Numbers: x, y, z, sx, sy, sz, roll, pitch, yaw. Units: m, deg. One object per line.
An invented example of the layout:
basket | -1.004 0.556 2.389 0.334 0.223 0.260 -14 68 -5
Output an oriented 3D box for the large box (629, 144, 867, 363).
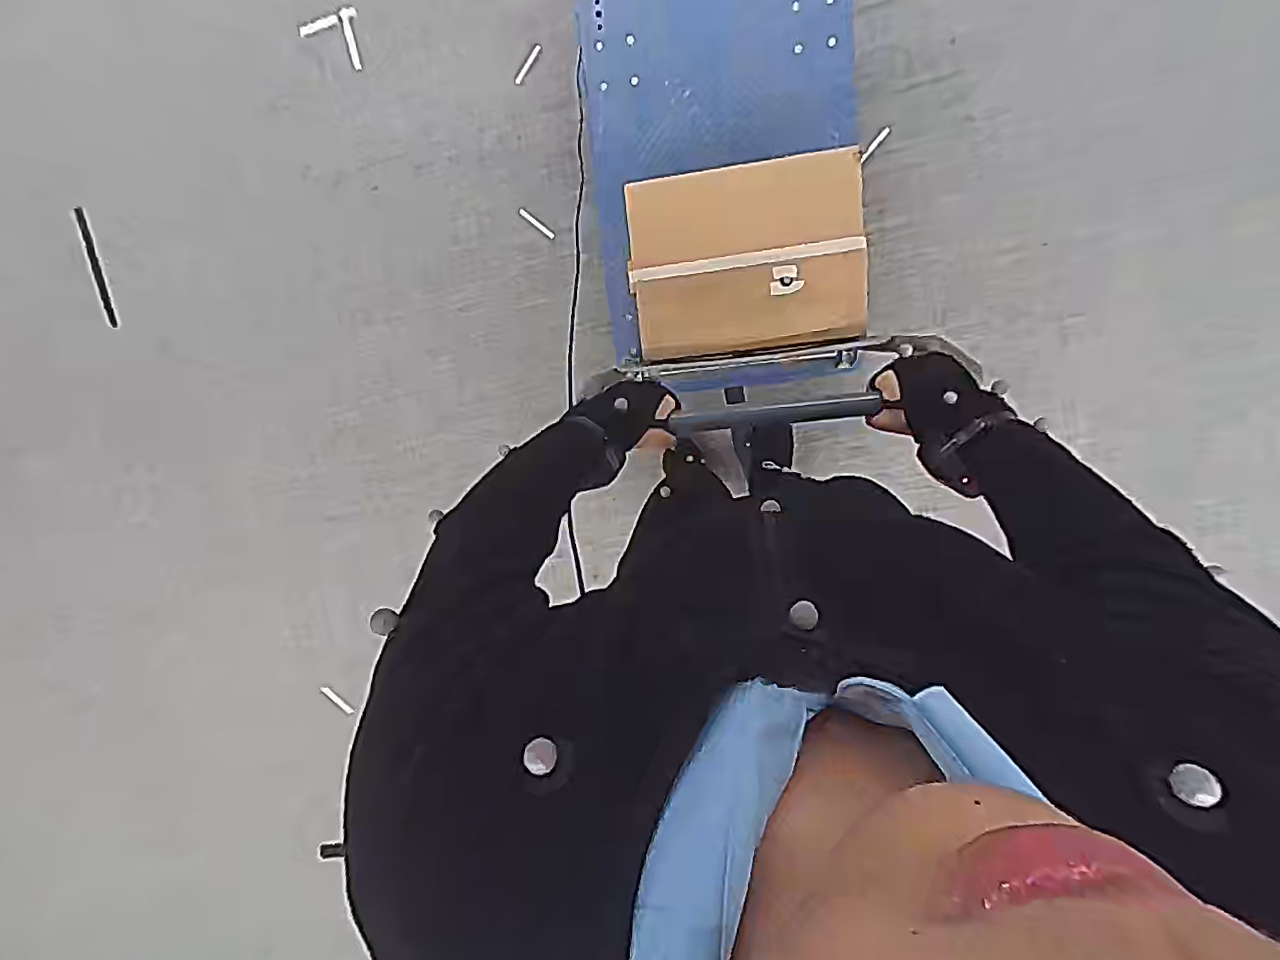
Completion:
large box | 0.209 -0.428 1.115 0.408 0.320 0.320 -6 100 8
